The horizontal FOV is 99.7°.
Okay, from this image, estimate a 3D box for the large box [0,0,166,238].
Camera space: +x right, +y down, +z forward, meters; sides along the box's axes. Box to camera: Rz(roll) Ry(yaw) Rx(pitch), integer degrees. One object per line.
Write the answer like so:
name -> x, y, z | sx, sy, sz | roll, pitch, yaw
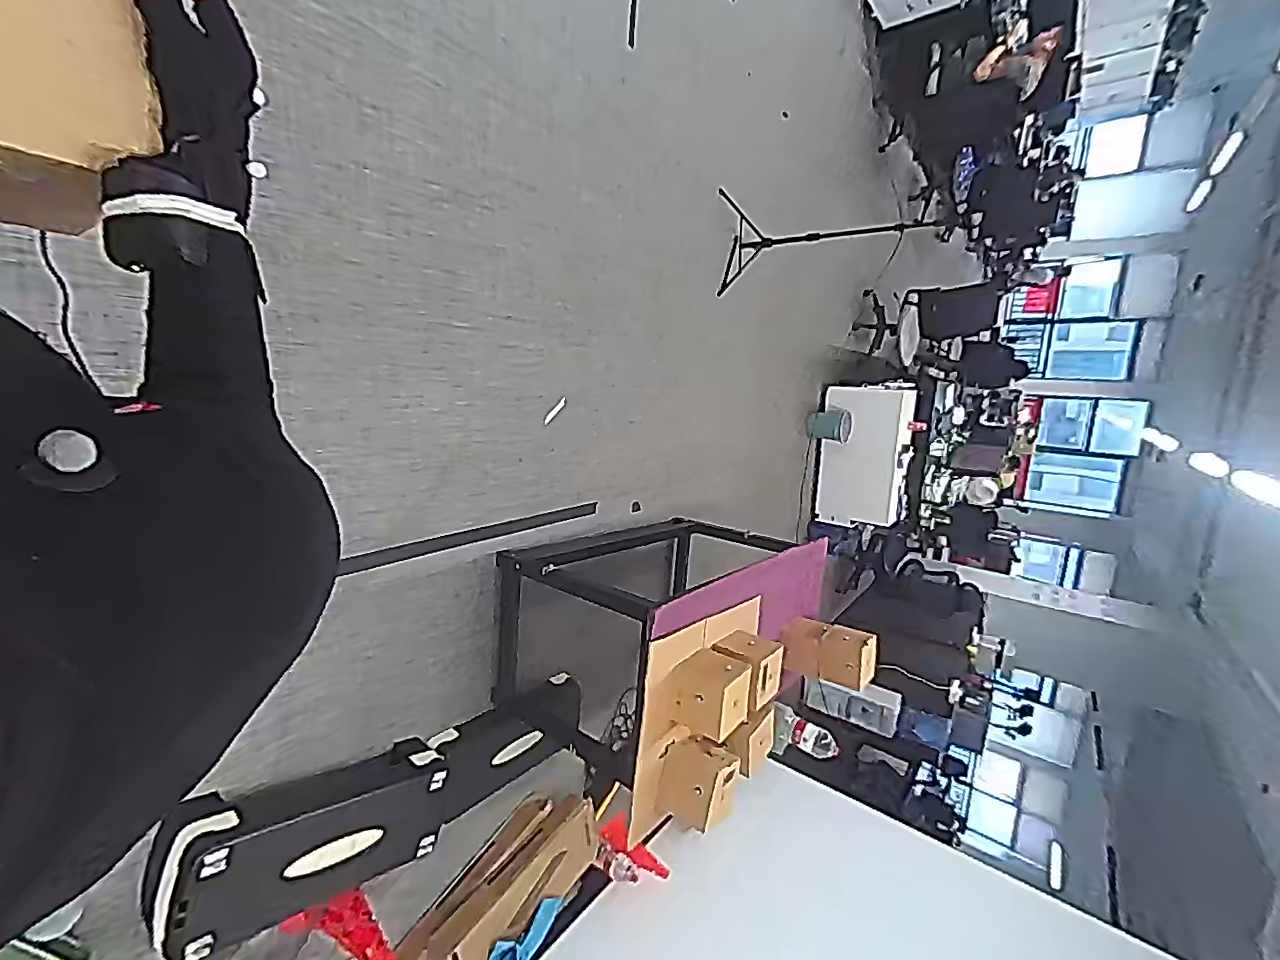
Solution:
large box -> -0.591, -0.367, 0.314 | 0.408, 0.320, 0.320 | -8, 106, -54
